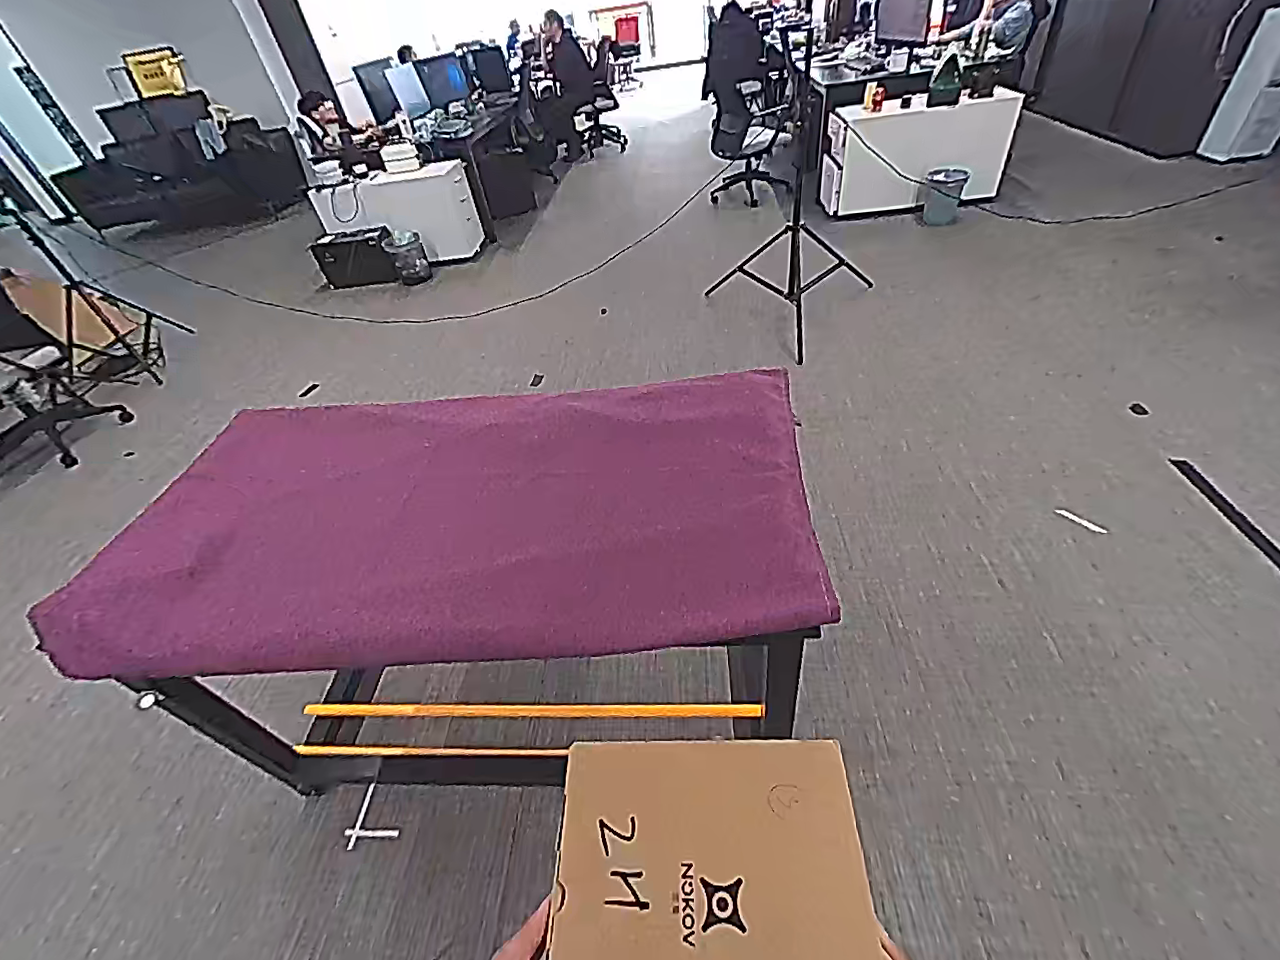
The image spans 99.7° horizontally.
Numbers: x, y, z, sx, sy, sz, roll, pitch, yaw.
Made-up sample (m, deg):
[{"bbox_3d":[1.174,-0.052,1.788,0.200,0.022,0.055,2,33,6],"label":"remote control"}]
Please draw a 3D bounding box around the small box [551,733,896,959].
[{"bbox_3d":[0.051,0.277,0.349,0.179,0.176,0.168,-4,46,7],"label":"small box"}]
